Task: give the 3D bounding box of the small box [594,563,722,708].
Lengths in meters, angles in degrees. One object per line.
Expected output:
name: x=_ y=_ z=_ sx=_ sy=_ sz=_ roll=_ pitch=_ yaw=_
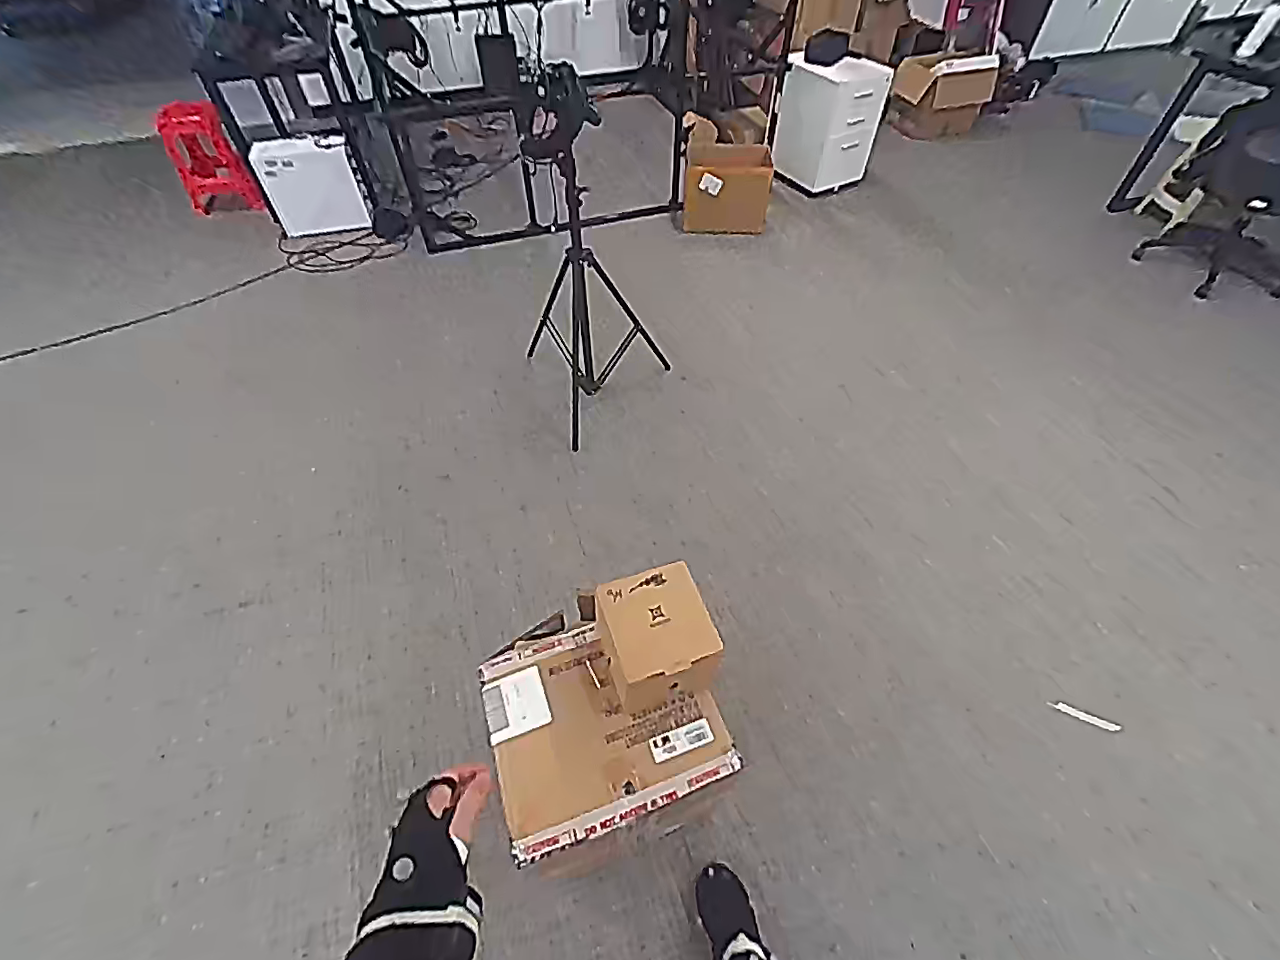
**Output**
small box: x=0.024 y=0.277 z=0.940 sx=0.168 sy=0.176 sz=0.179 roll=-14 pitch=55 yaw=-14
